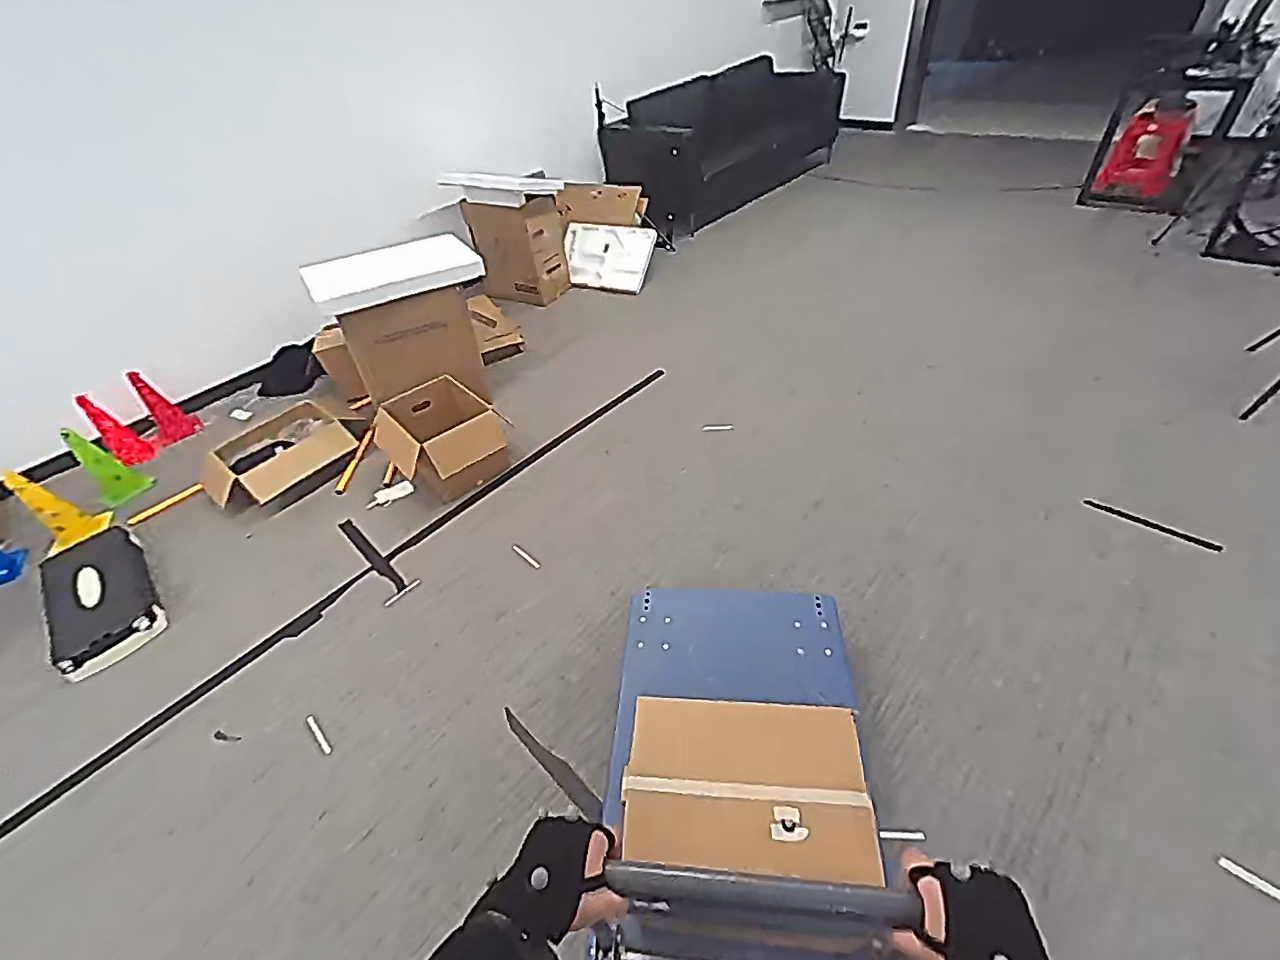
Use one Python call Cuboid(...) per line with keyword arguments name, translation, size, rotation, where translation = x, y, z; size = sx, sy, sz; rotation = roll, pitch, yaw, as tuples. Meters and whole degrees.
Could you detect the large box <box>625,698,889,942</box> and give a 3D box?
Cuboid(name="large box", translation=(0.192, 0.638, 1.021), size=(0.408, 0.320, 0.320), rotation=(0, 44, 7))
